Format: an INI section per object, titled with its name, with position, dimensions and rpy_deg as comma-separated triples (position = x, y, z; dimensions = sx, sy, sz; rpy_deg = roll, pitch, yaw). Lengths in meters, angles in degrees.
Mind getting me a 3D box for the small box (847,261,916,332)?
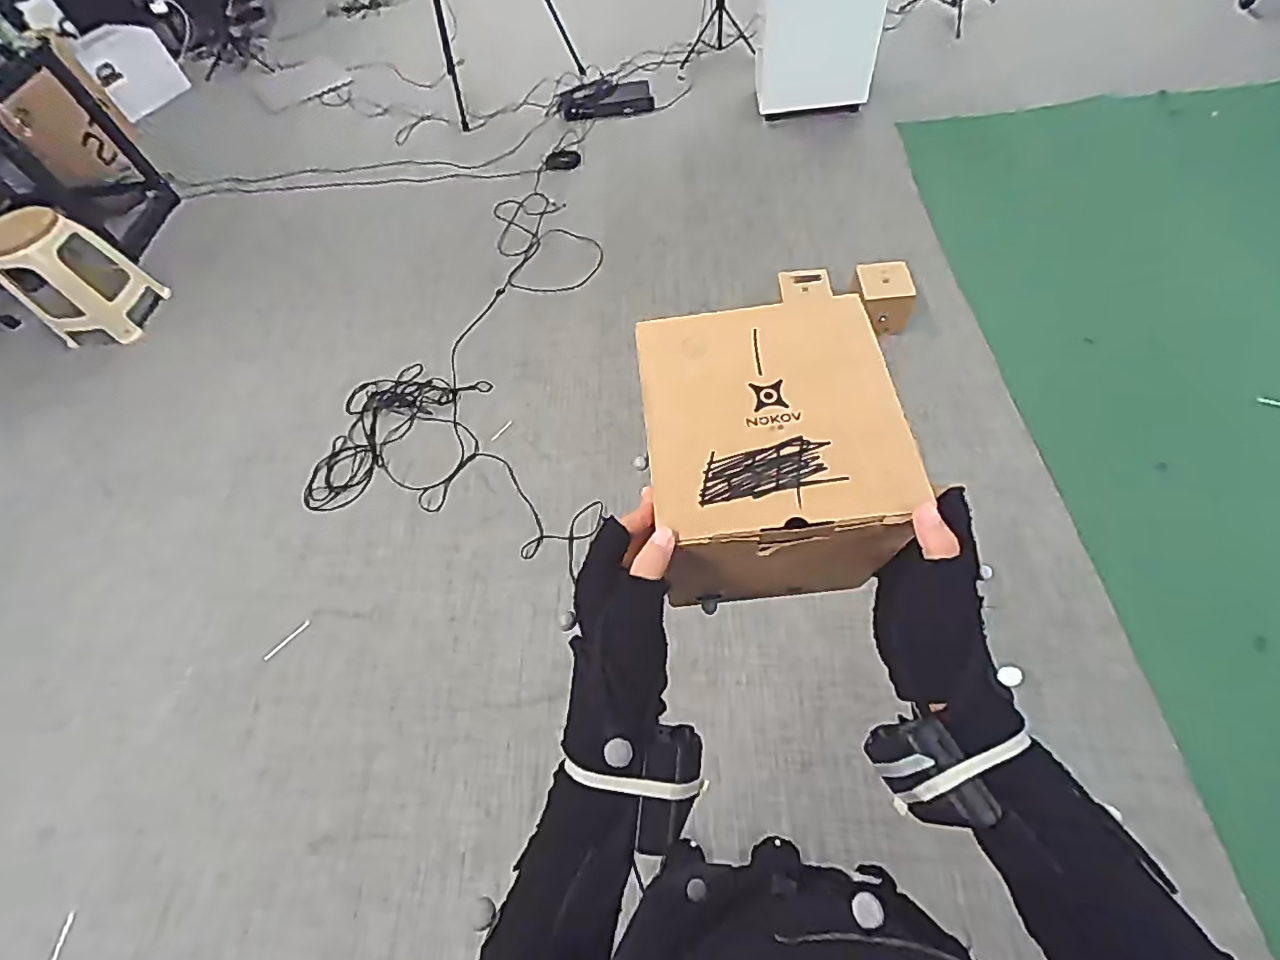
[small box]
position = 0.832, -0.629, 1.875
dimensions = 0.168, 0.176, 0.179
rpy_deg = -3, 58, 6
